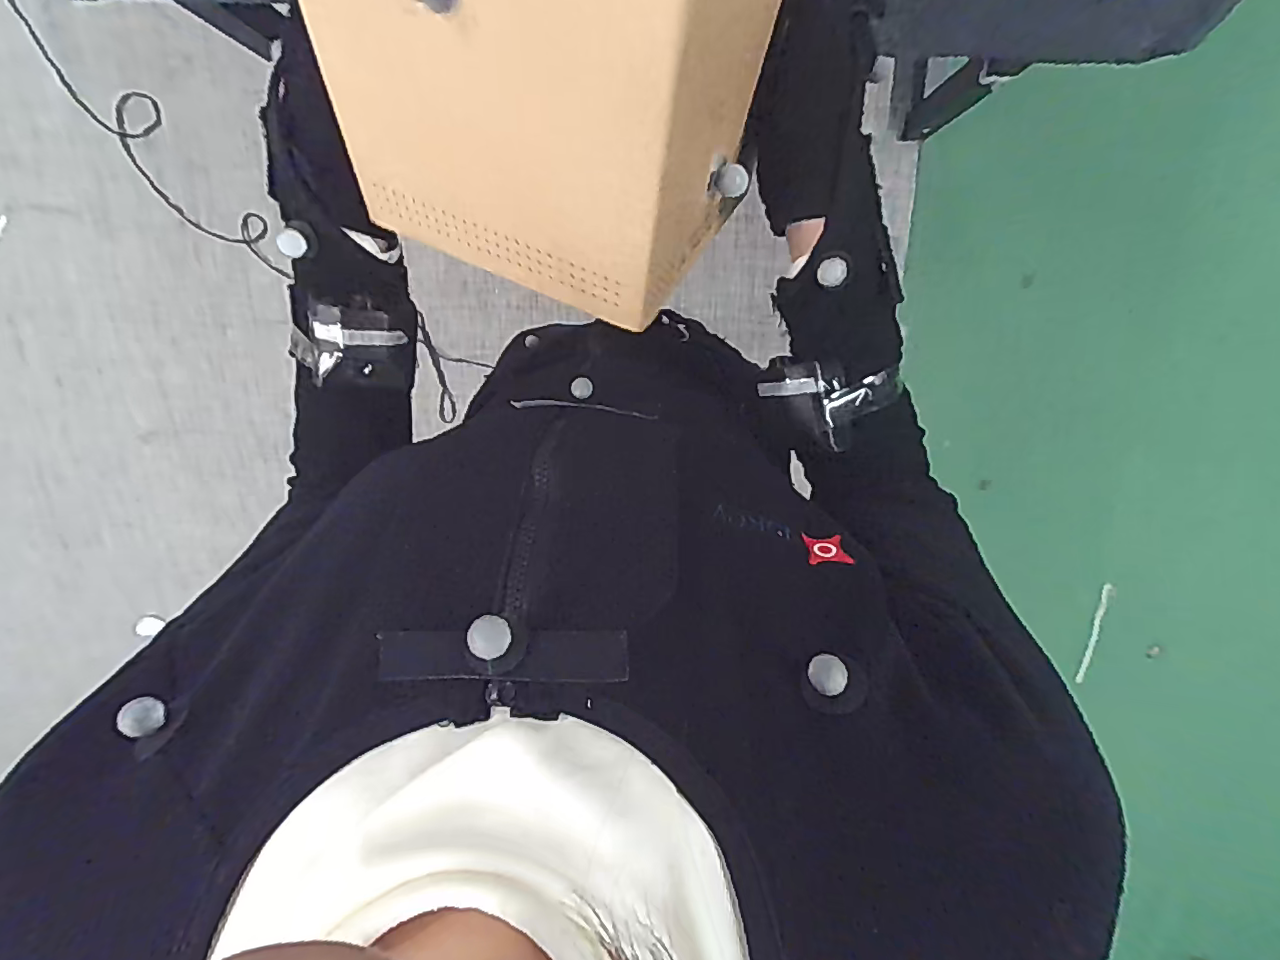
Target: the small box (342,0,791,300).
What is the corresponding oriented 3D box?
[{"bbox_3d":[-0.031,-0.224,0.282,0.179,0.168,0.176,24,148,10],"label":"small box"}]
